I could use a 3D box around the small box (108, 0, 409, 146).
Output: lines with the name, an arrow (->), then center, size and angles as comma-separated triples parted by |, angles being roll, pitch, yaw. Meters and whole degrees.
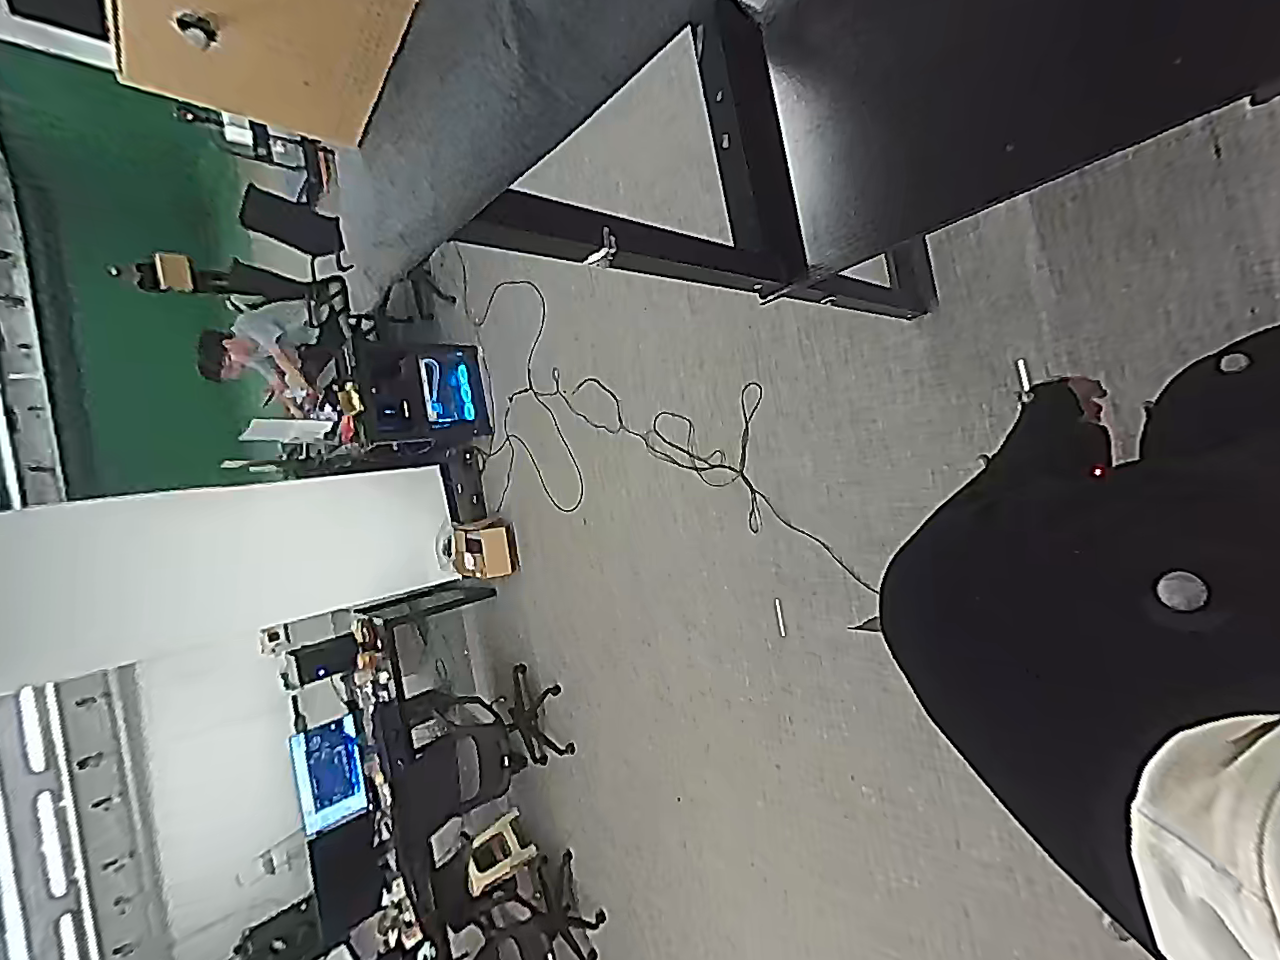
small box -> -0.294, -0.399, 0.411 | 0.179, 0.176, 0.168 | -17, 84, 46
